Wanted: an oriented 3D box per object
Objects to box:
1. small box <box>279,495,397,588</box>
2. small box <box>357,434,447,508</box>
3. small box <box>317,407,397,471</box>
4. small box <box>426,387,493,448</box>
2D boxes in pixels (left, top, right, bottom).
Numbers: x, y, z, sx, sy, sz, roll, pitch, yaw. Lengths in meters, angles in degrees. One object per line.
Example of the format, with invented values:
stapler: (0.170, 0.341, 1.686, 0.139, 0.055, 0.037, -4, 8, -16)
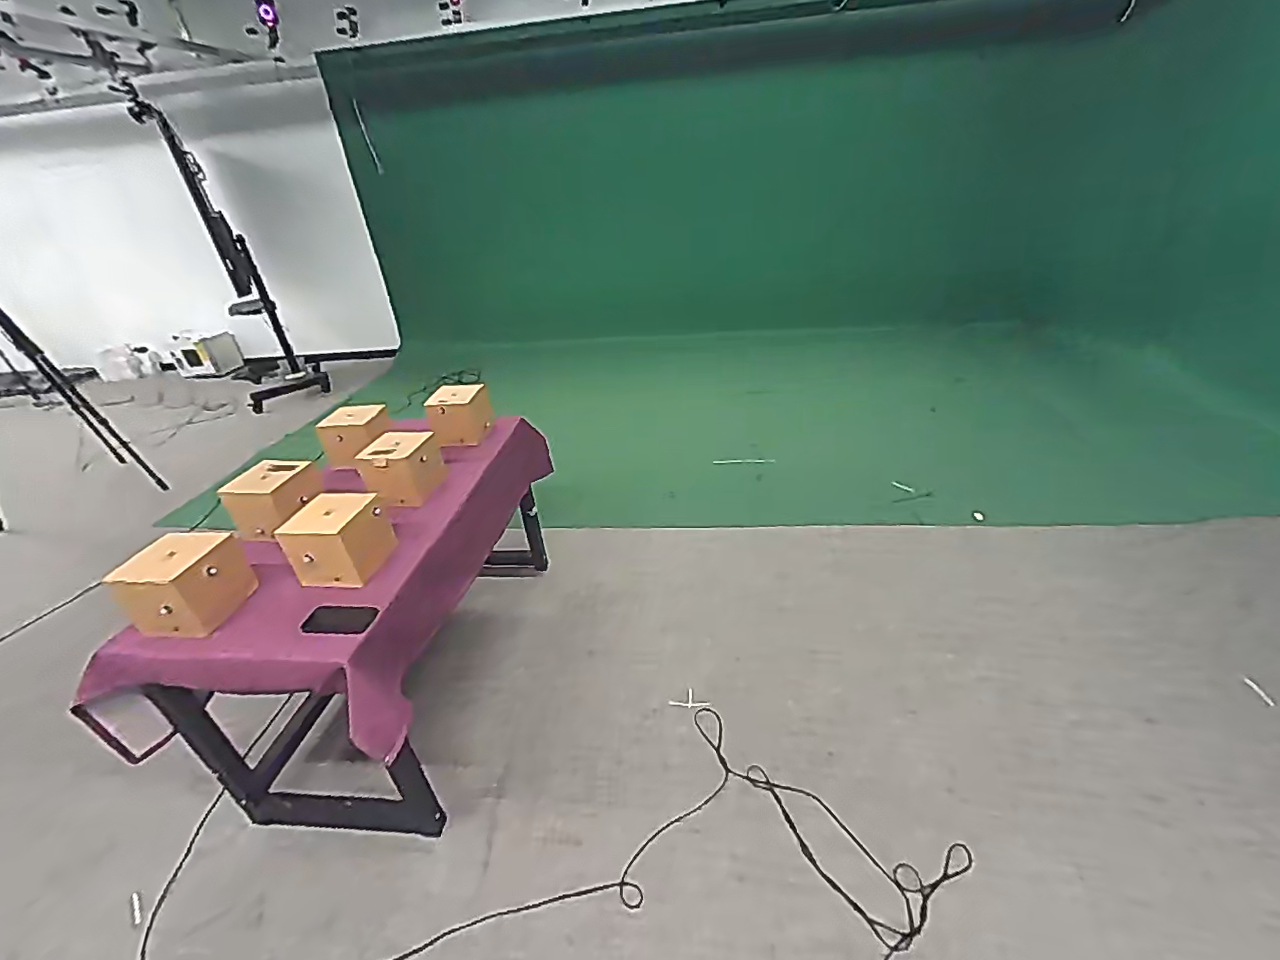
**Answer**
small box: (-0.738, 0.154, 1.347, 0.168, 0.176, 0.179, -1, 30, 9)
small box: (-0.714, -0.028, 1.649, 0.168, 0.176, 0.179, 1, 30, 11)
small box: (-0.970, -0.141, 1.883, 0.179, 0.176, 0.168, -2, 31, 6)
small box: (-0.650, -0.230, 1.977, 0.168, 0.176, 0.179, -2, 31, 7)
